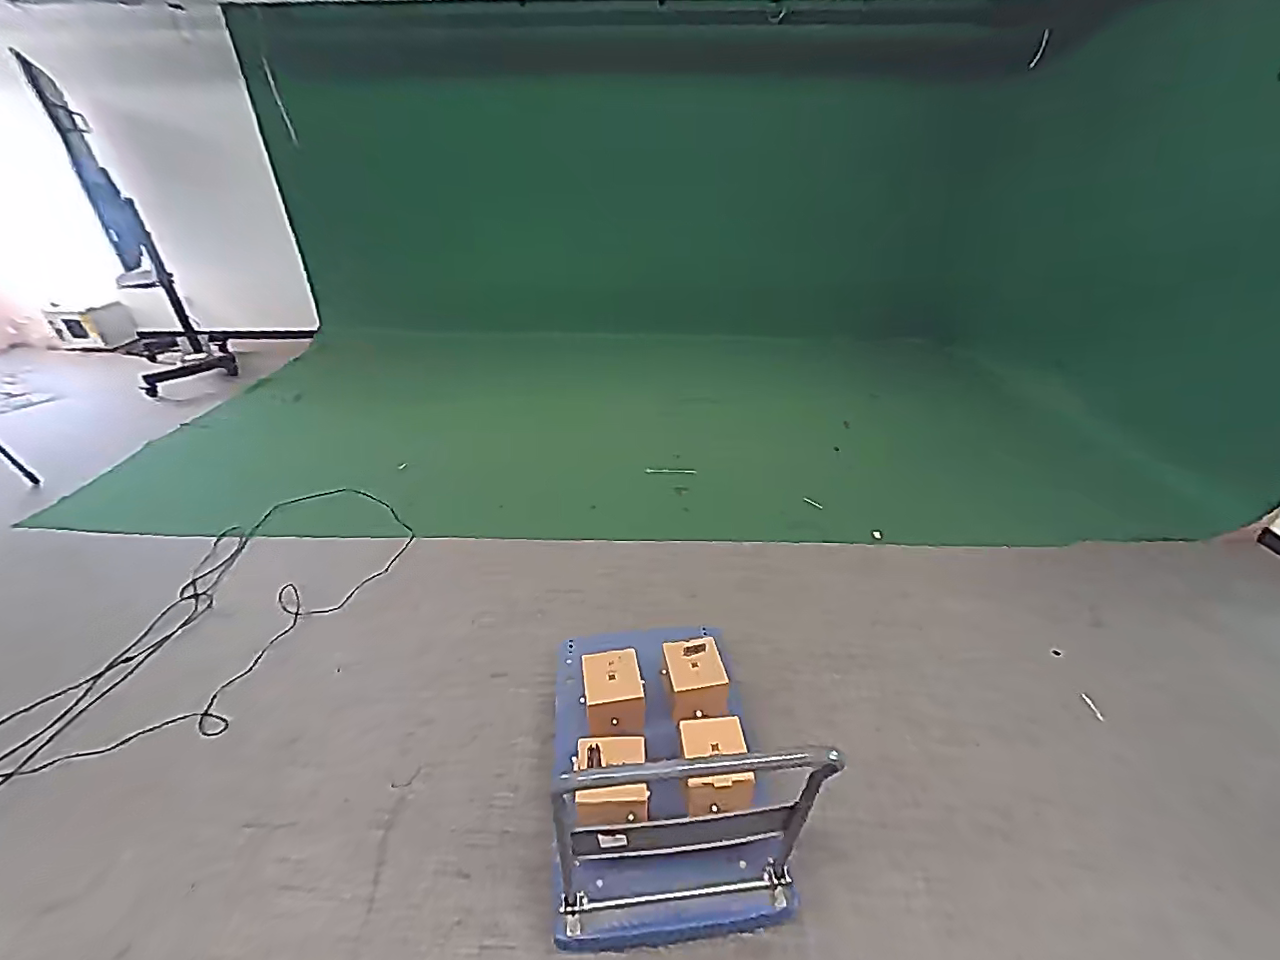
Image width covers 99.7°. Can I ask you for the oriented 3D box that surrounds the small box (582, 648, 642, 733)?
[{"bbox_3d":[-0.086,0.646,1.647,0.168,0.176,0.179,-5,33,-9],"label":"small box"}]

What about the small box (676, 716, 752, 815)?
[{"bbox_3d":[0.193,0.769,1.461,0.168,0.176,0.179,-3,34,-5],"label":"small box"}]

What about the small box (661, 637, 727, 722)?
[{"bbox_3d":[0.162,0.621,1.685,0.168,0.176,0.179,-6,35,-8],"label":"small box"}]
